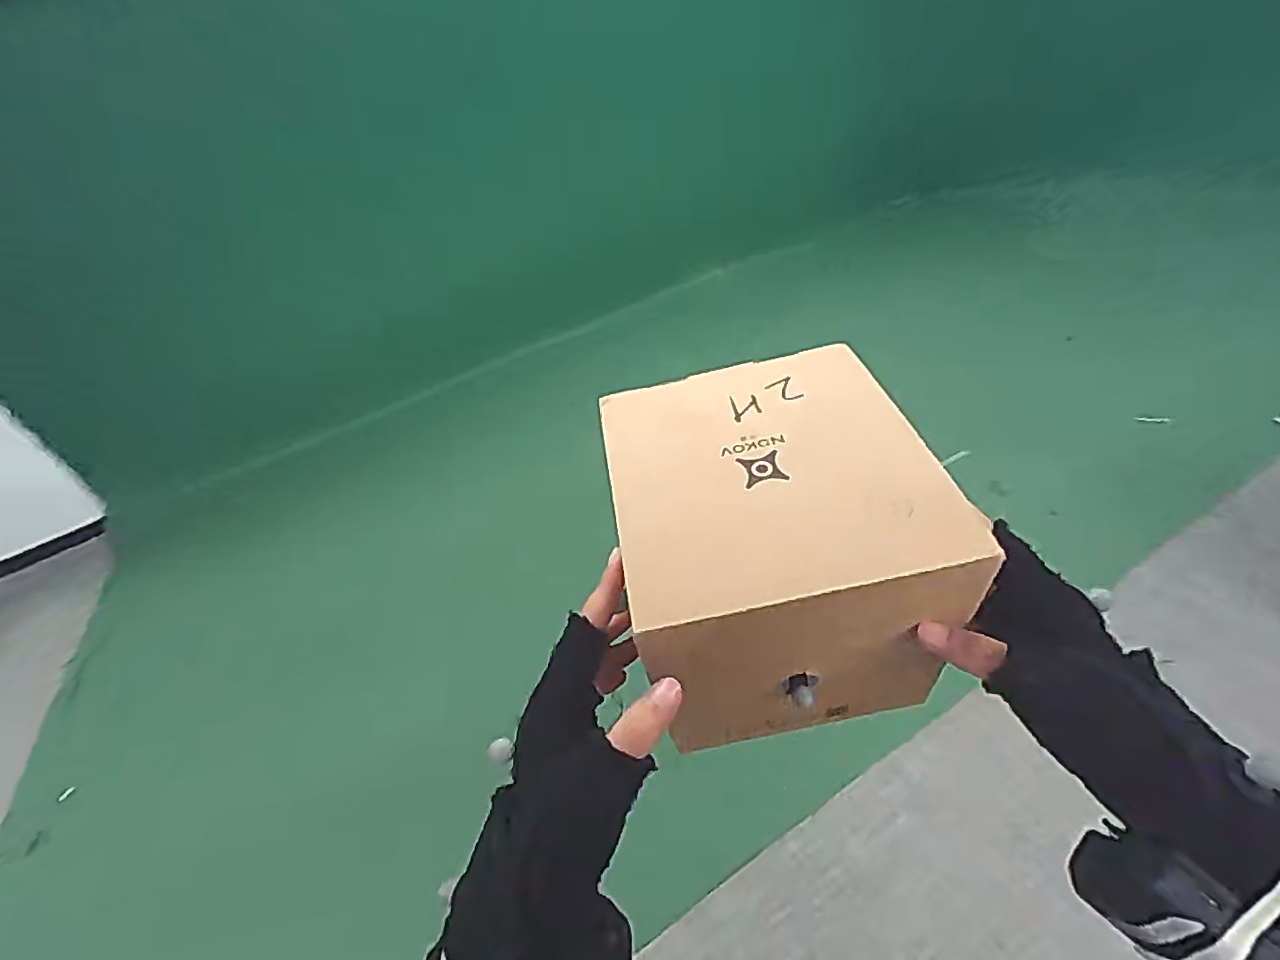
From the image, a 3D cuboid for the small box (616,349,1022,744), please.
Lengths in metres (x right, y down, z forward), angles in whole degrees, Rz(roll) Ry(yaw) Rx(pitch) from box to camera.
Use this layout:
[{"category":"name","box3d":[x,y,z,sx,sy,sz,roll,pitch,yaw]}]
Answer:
[{"category":"small box","box3d":[0.086,0.049,0.344,0.168,0.176,0.179,-11,46,2]}]
